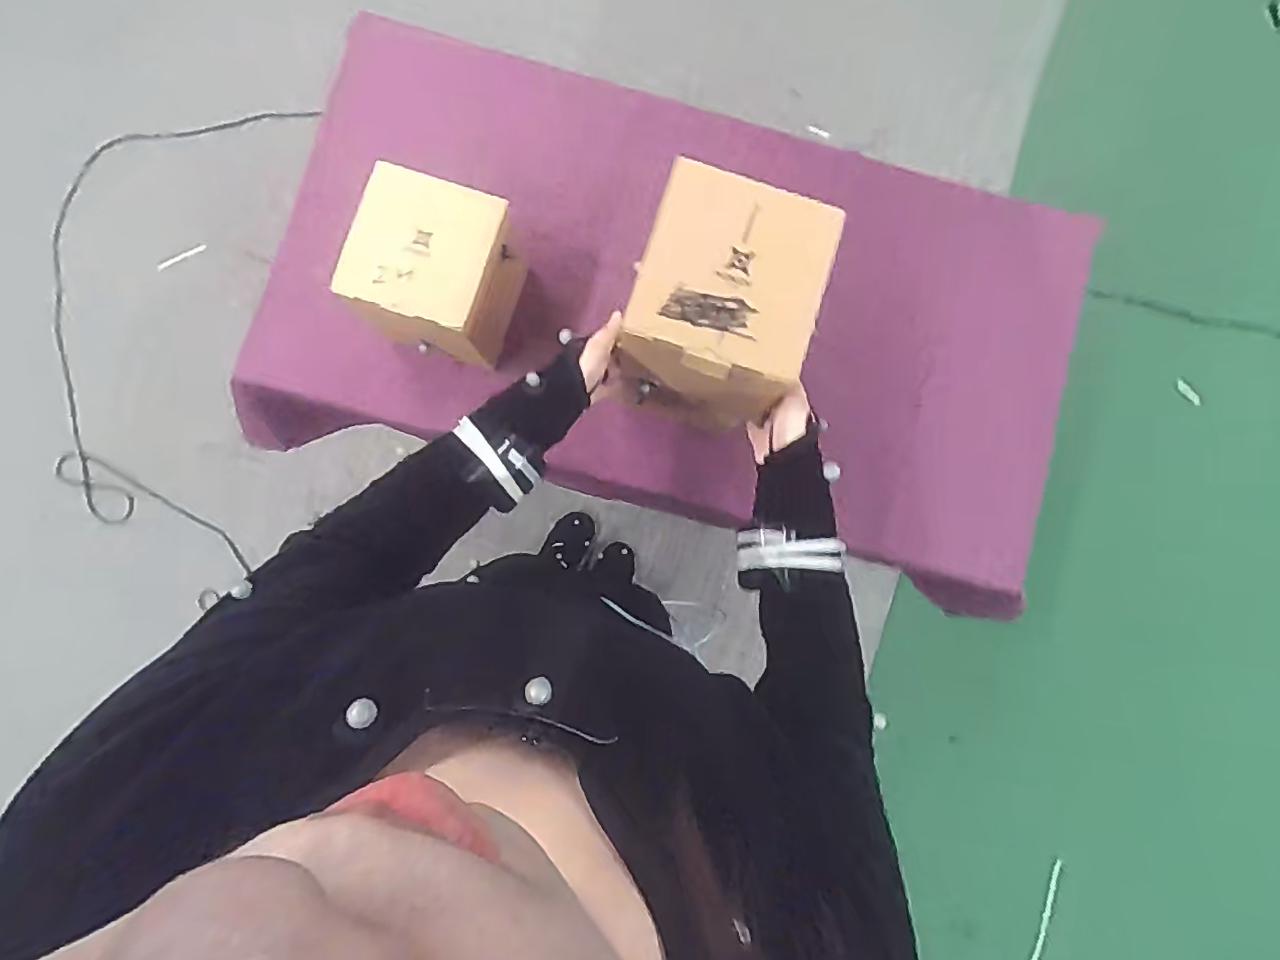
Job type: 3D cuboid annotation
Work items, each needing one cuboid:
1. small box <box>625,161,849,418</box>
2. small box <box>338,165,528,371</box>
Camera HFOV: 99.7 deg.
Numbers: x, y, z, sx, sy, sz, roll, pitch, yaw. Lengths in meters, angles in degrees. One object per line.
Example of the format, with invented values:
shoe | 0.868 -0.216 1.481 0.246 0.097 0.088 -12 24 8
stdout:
small box | 0.088 -0.180 0.569 0.168 0.176 0.179 18 83 -1
small box | -0.260 -0.271 0.728 0.168 0.176 0.179 17 85 0
